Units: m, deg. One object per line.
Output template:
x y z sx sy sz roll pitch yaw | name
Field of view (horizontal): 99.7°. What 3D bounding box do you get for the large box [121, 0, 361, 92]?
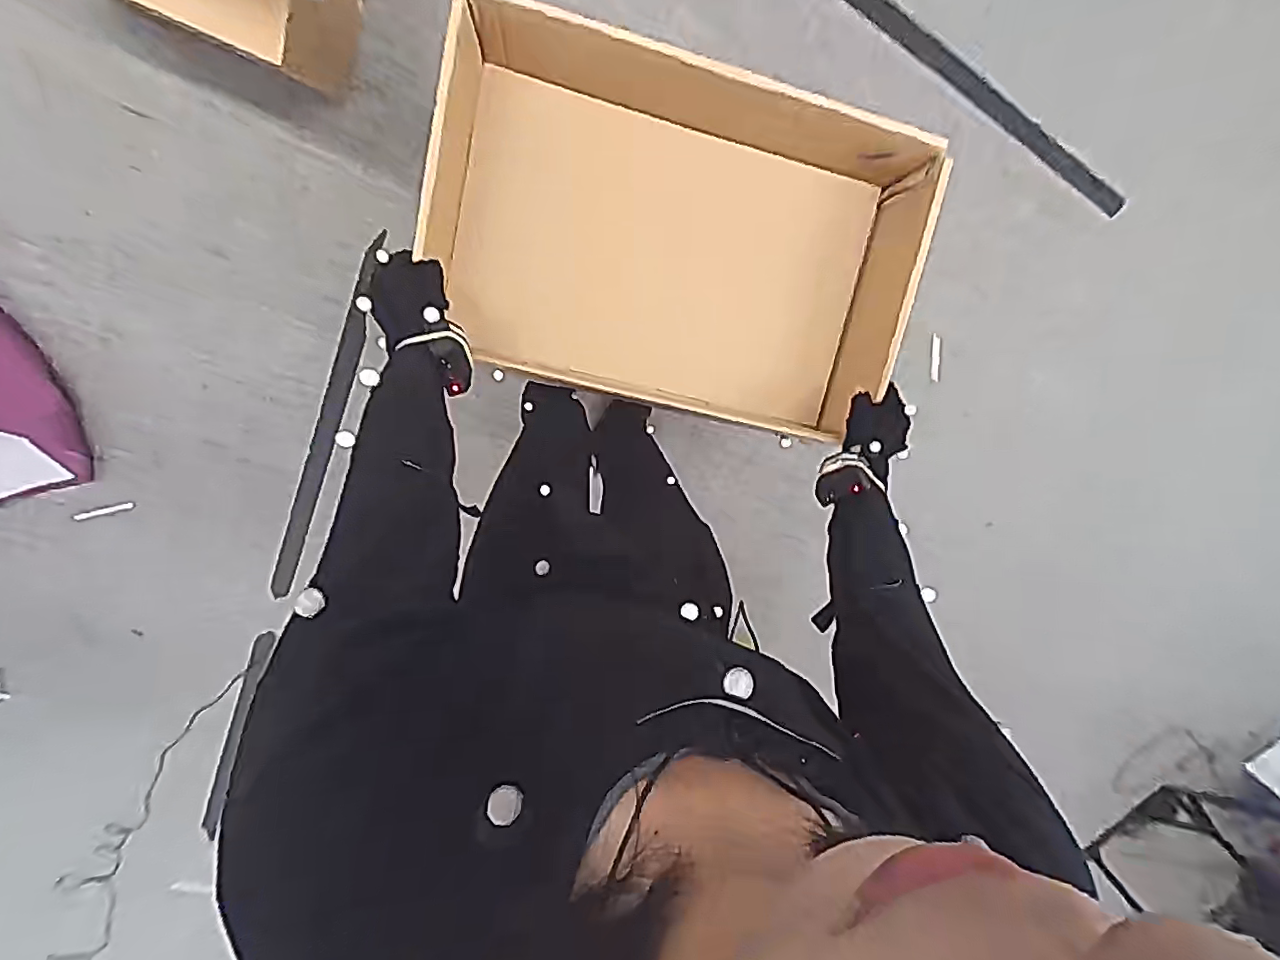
-0.663 -0.852 0.794 0.408 0.320 0.320 15 114 -19 | large box
